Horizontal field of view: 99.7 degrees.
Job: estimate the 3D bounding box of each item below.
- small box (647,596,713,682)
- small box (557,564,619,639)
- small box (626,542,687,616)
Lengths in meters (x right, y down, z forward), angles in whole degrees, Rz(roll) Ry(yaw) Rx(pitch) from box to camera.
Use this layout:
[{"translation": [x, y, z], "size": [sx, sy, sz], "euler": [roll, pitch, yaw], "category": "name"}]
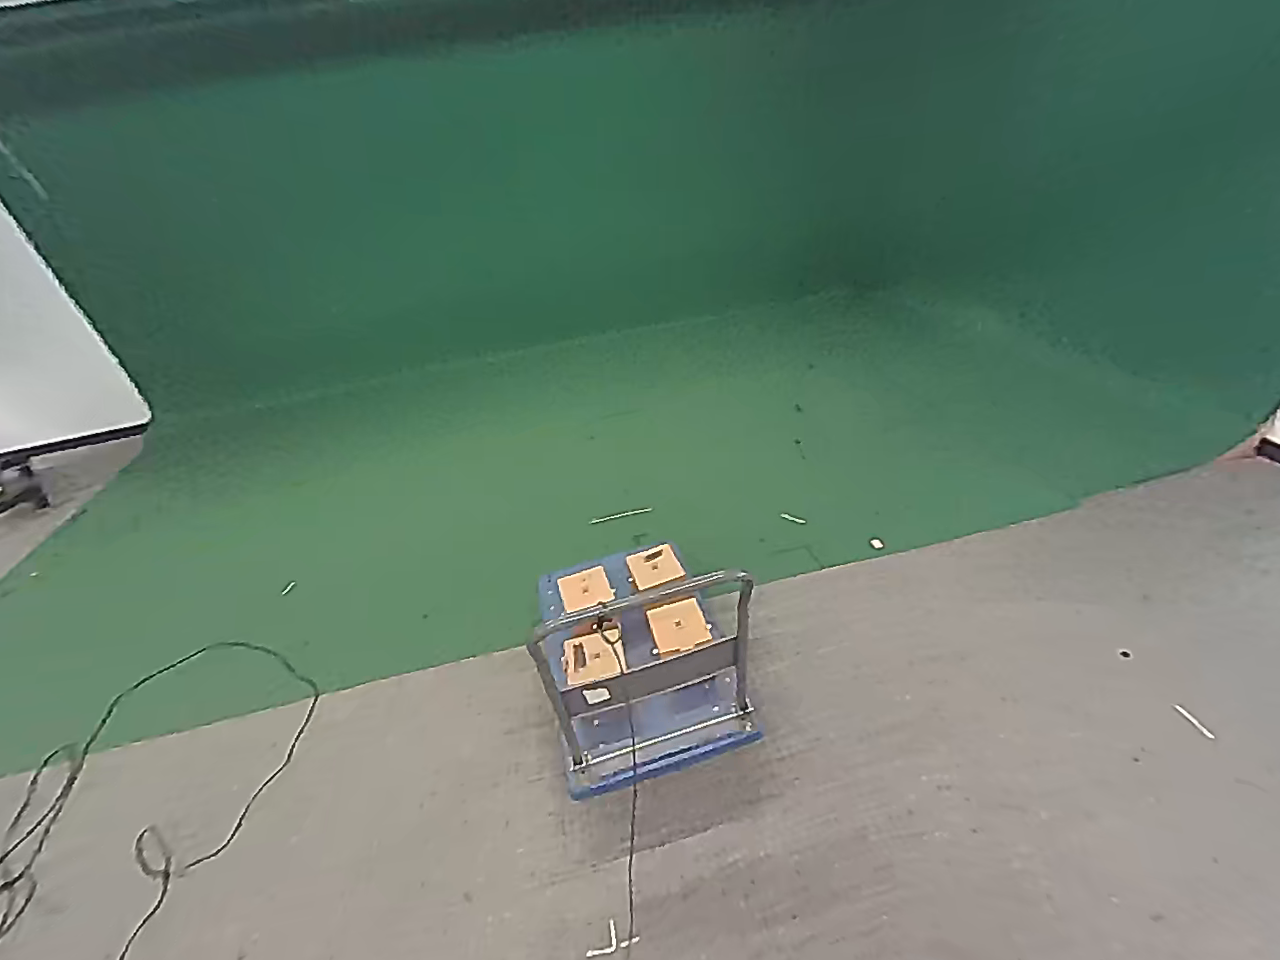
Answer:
[{"translation": [0.125, 0.504, 1.713], "size": [0.168, 0.176, 0.179], "euler": [-13, 37, -7], "category": "small box"}, {"translation": [-0.179, 0.428, 1.882], "size": [0.168, 0.176, 0.179], "euler": [-16, 36, -11], "category": "small box"}, {"translation": [0.059, 0.356, 1.928], "size": [0.168, 0.176, 0.179], "euler": [-17, 38, -10], "category": "small box"}]
